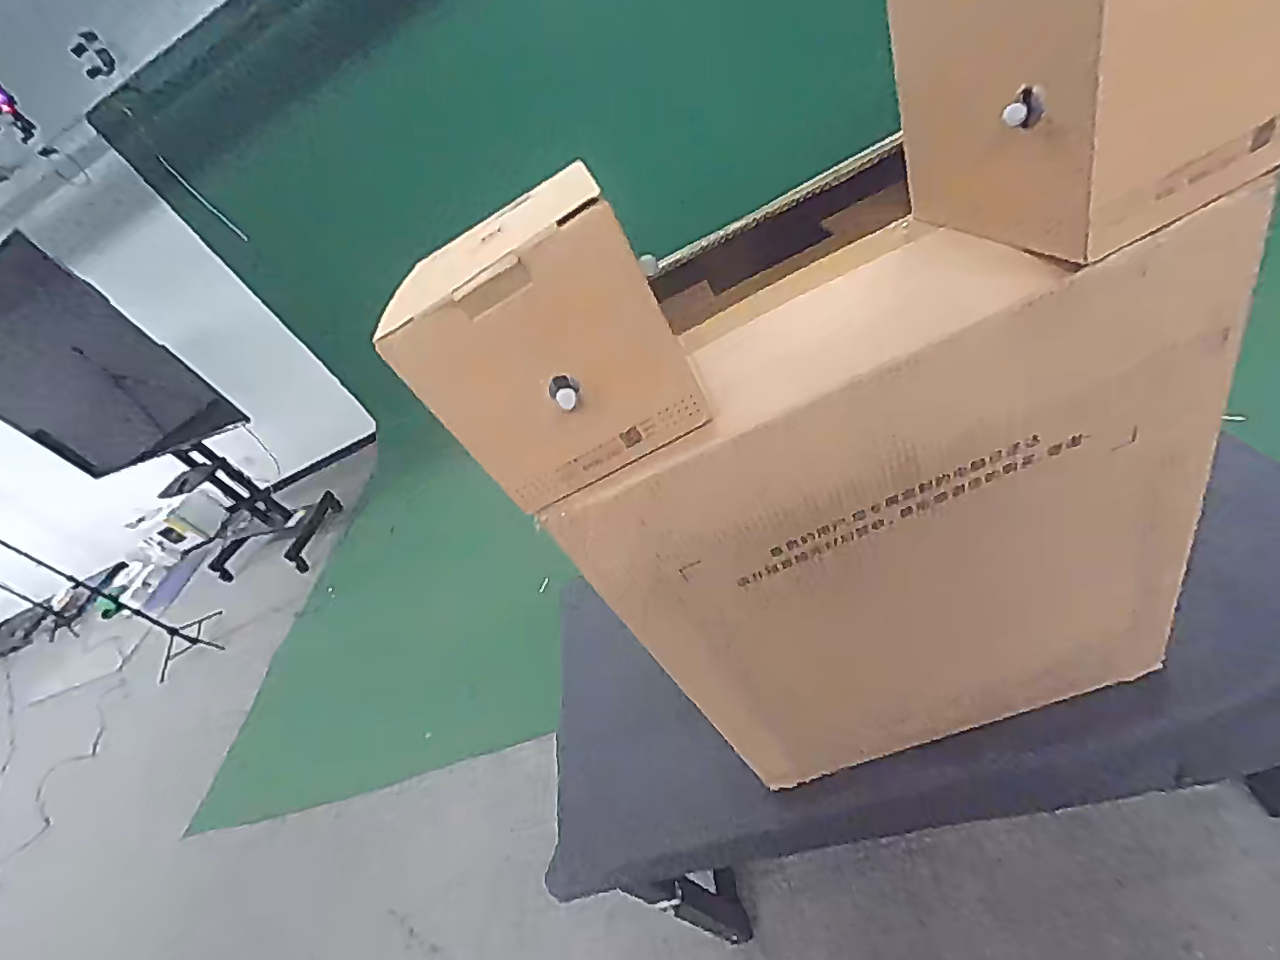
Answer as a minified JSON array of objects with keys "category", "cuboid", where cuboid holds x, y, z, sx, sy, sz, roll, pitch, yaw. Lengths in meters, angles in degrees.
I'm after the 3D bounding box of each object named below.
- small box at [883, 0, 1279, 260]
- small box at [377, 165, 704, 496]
[{"category":"small box","cuboid":[0.289,-0.266,0.345,0.168,0.176,0.179,-27,36,4]},{"category":"small box","cuboid":[-0.067,-0.110,0.428,0.168,0.176,0.179,-27,37,9]}]
